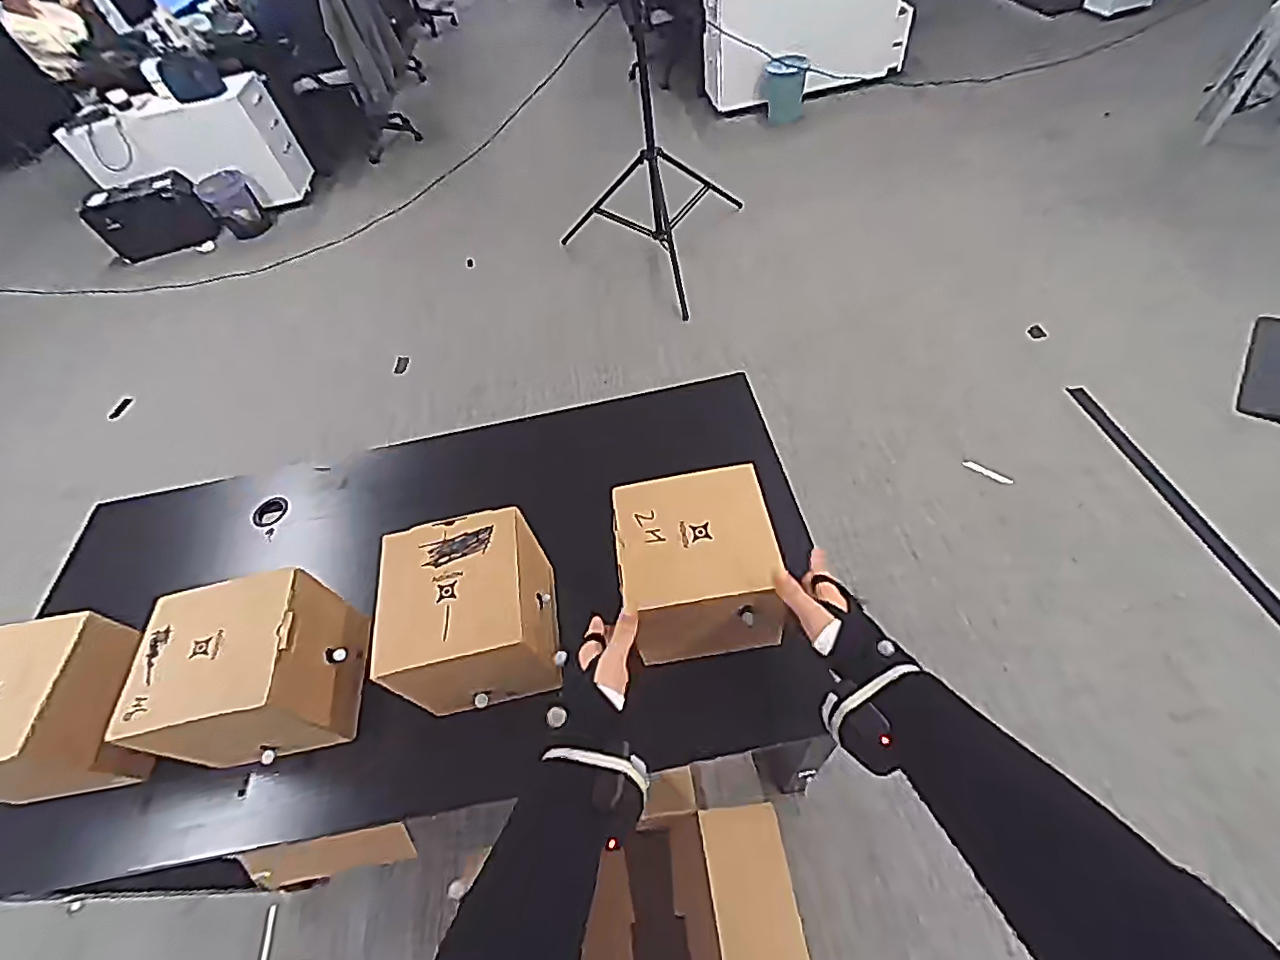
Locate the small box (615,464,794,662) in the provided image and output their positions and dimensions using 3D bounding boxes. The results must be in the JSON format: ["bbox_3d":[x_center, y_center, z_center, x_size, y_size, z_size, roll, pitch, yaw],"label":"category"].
[{"bbox_3d":[0.074,0.107,0.662,0.179,0.176,0.168,-11,52,3],"label":"small box"}]

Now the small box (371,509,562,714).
[{"bbox_3d":[-0.200,0.165,0.667,0.168,0.176,0.179,-13,53,0],"label":"small box"}]

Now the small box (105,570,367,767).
[{"bbox_3d":[-0.463,0.234,0.660,0.179,0.176,0.168,-12,52,-1],"label":"small box"}]

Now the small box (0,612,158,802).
[{"bbox_3d":[-0.722,0.284,0.665,0.179,0.176,0.168,-10,54,0],"label":"small box"}]
